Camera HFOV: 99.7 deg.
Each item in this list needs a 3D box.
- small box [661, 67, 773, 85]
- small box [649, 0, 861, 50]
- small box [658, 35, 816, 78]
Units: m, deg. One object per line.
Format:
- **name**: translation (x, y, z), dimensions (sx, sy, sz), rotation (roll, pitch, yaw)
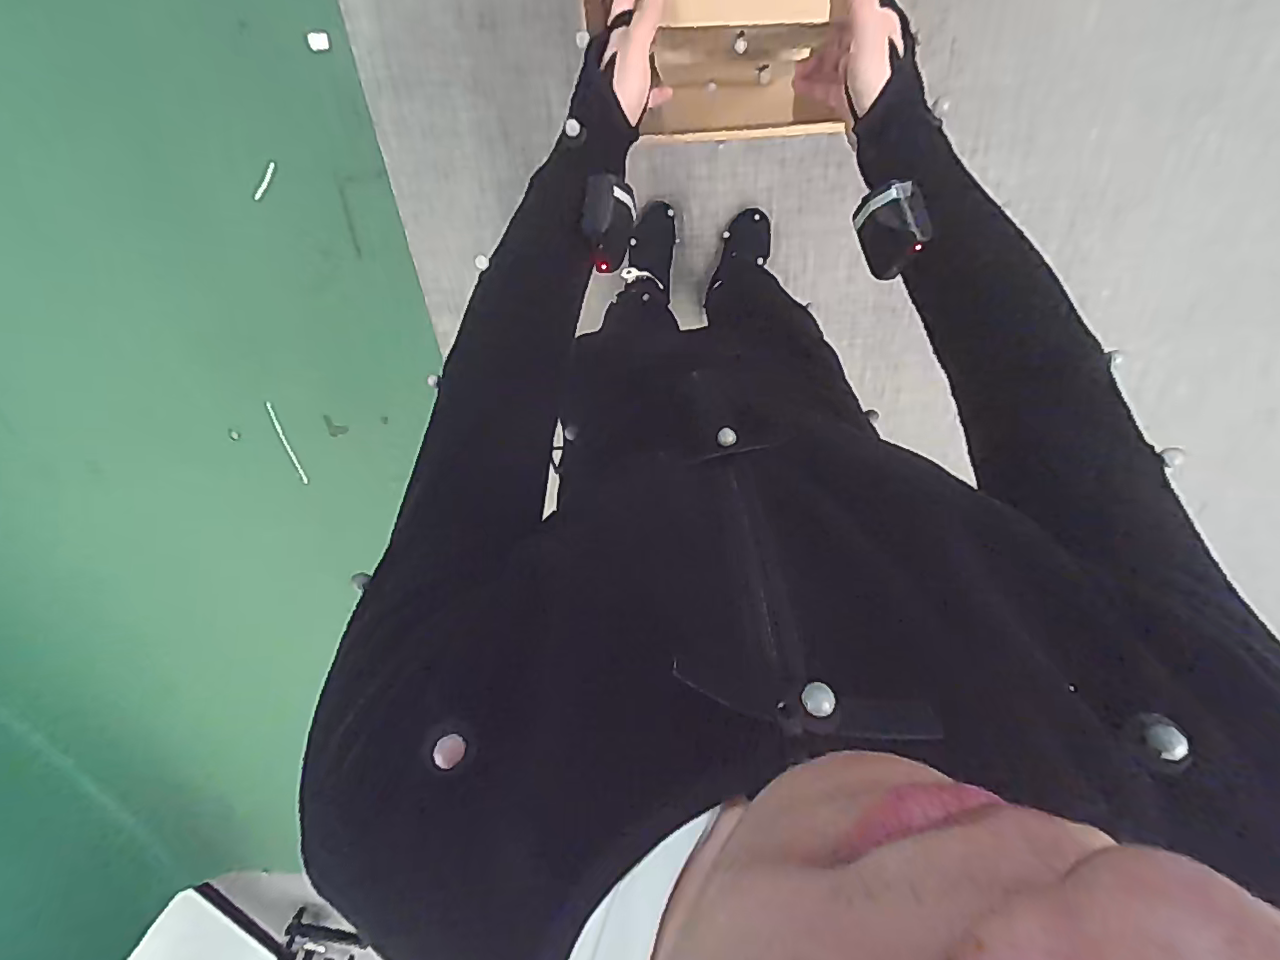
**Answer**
- **small box**: translation (0.123, -0.673, 0.769), dimensions (0.179, 0.176, 0.168), rotation (2, 122, 5)
- **small box**: translation (0.100, -0.495, 0.479), dimensions (0.179, 0.176, 0.168), rotation (2, 123, 2)
- **small box**: translation (0.112, -0.582, 0.631), dimensions (0.179, 0.176, 0.168), rotation (2, 121, 4)
